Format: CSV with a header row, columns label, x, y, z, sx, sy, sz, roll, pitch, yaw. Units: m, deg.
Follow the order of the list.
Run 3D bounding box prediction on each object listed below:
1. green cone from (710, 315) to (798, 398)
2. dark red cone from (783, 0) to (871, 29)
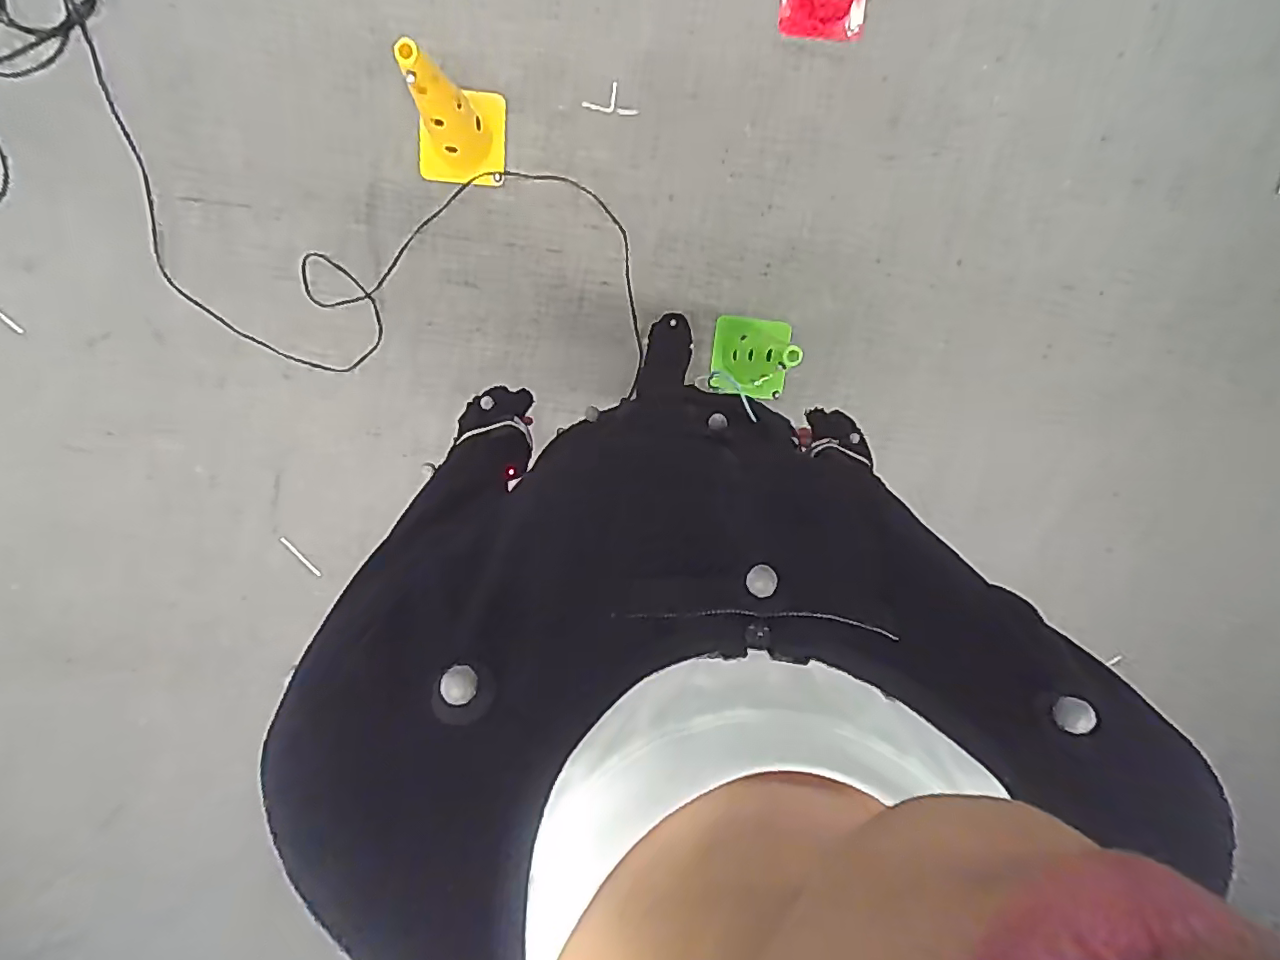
label,x,y,z,sx,sy,sz,roll,pitch,yaw
green cone,0.296,-0.290,1.248,0.202,0.368,0.200,5,101,-2
dark red cone,0.433,-1.105,1.061,0.202,0.394,0.201,1,100,-3
